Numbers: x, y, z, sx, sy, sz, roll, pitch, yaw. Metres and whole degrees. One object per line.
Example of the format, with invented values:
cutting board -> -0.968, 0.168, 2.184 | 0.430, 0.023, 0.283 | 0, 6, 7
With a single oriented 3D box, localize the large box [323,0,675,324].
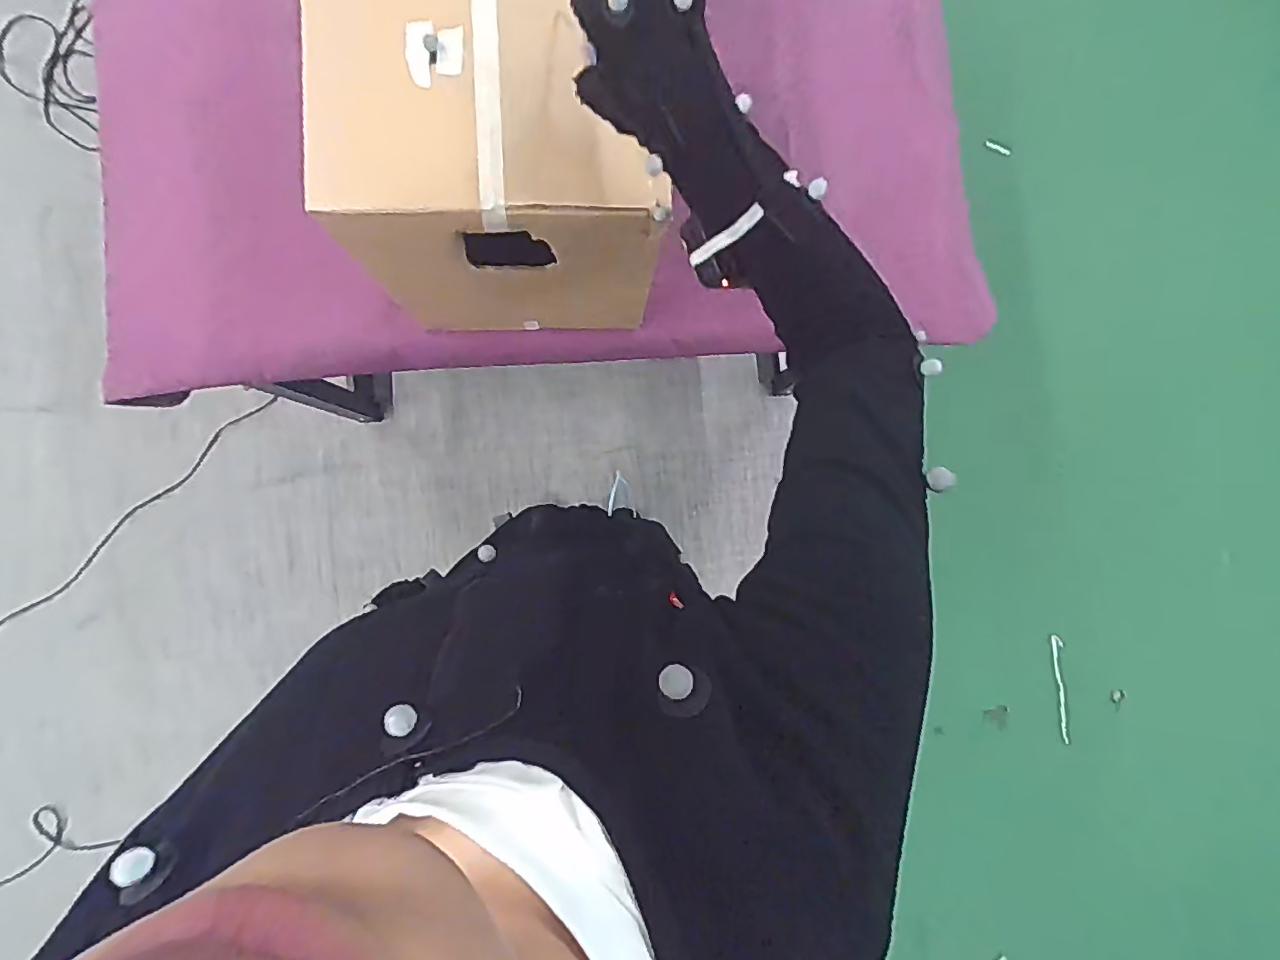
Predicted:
large box -> -0.144, -0.429, 0.639 | 0.320, 0.320, 0.408 | -2, 88, -5
